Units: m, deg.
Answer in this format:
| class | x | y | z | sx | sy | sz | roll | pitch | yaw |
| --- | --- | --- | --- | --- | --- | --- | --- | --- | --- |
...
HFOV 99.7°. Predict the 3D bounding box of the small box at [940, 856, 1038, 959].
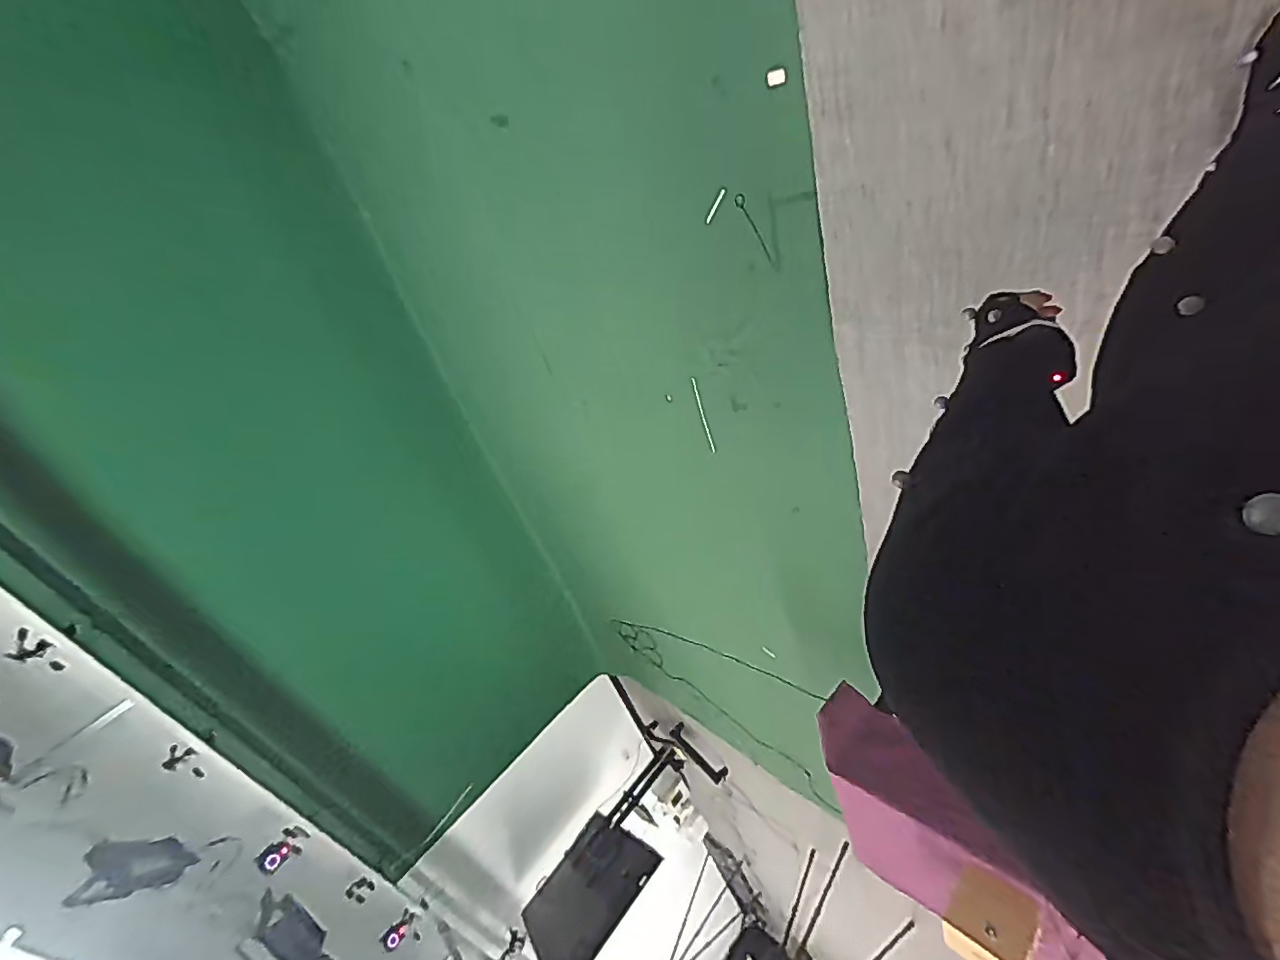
| class | x | y | z | sx | sy | sz | roll | pitch | yaw |
| --- | --- | --- | --- | --- | --- | --- | --- | --- | --- |
| small box | 0.906 | 1.132 | 1.401 | 0.179 | 0.176 | 0.168 | 15 | 137 | 47 |
